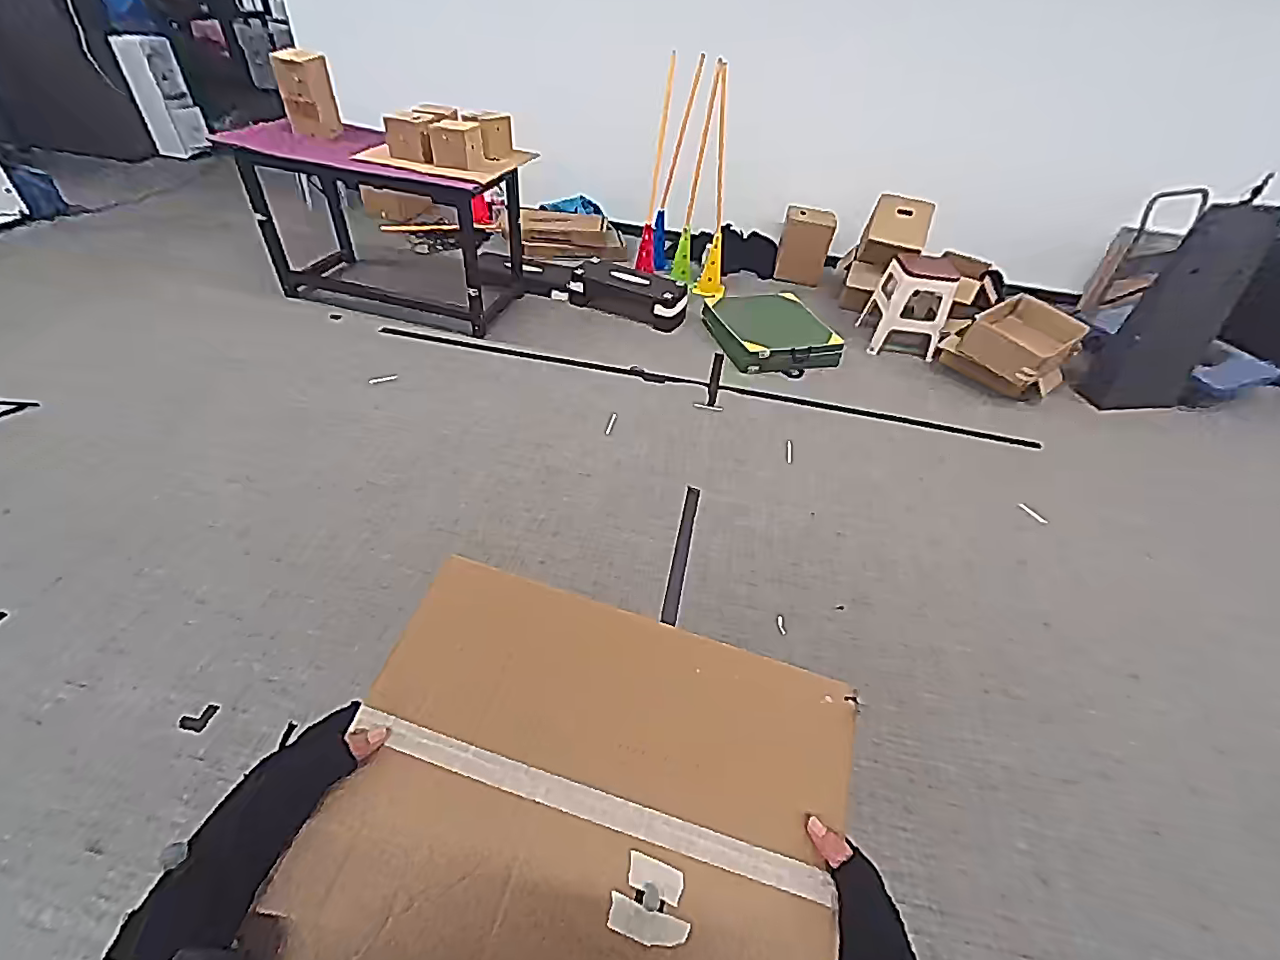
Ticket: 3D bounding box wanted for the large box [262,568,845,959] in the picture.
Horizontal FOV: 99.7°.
[{"bbox_3d":[-0.052,0.339,0.568,0.408,0.320,0.320,17,59,5],"label":"large box"}]
